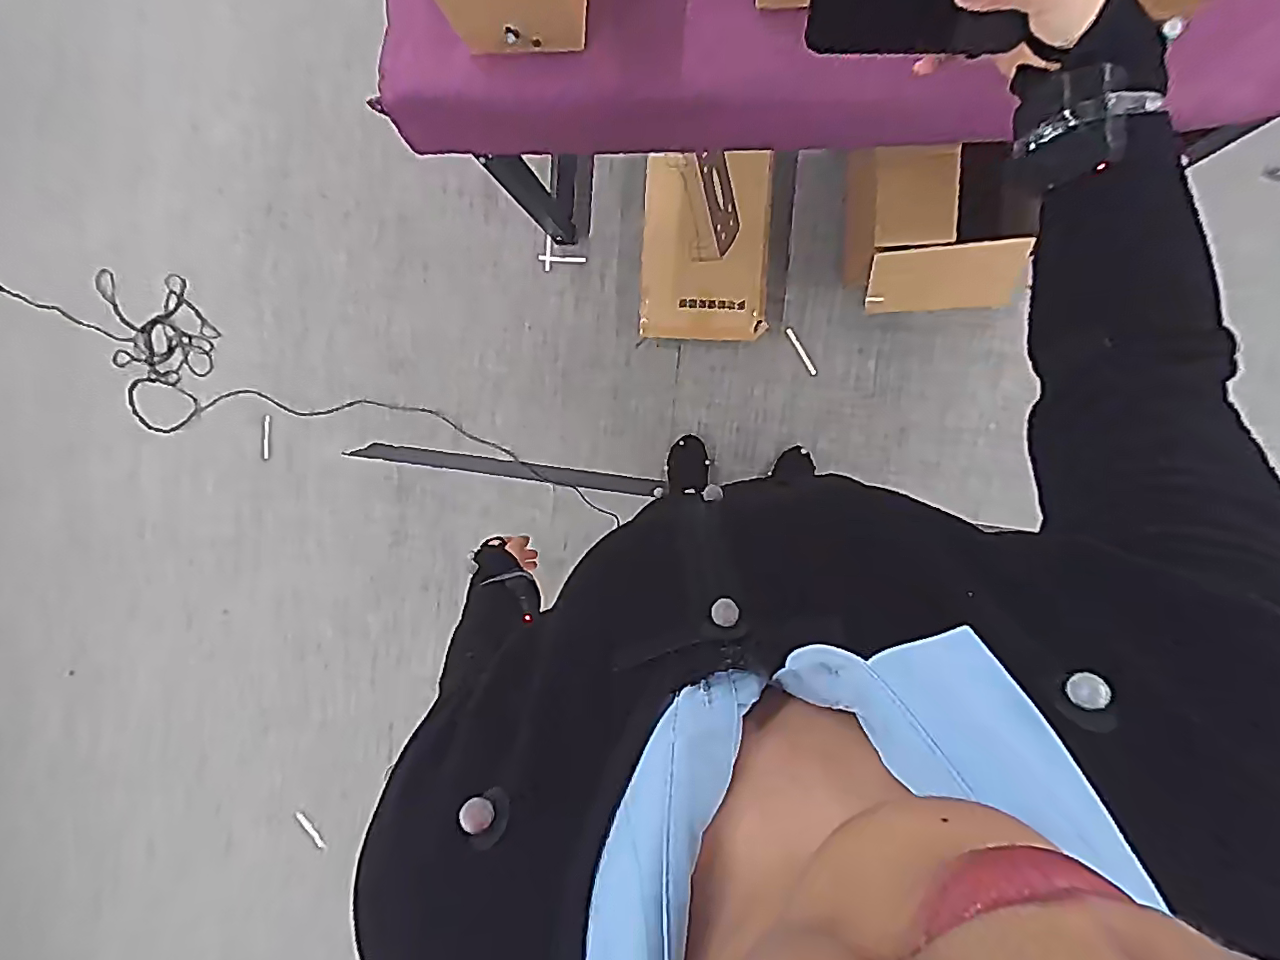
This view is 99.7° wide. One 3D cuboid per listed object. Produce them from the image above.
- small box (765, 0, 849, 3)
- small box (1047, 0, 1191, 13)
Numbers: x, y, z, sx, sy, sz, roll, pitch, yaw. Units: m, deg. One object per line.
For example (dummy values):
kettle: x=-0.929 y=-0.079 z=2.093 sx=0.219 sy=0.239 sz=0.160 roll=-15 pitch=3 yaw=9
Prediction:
small box: x=0.230 y=-0.669 z=0.587 sx=0.179 sy=0.176 sz=0.168 roll=4 pitch=94 yaw=9
small box: x=0.542 y=-0.620 z=0.544 sx=0.179 sy=0.176 sz=0.168 roll=12 pitch=97 yaw=7
